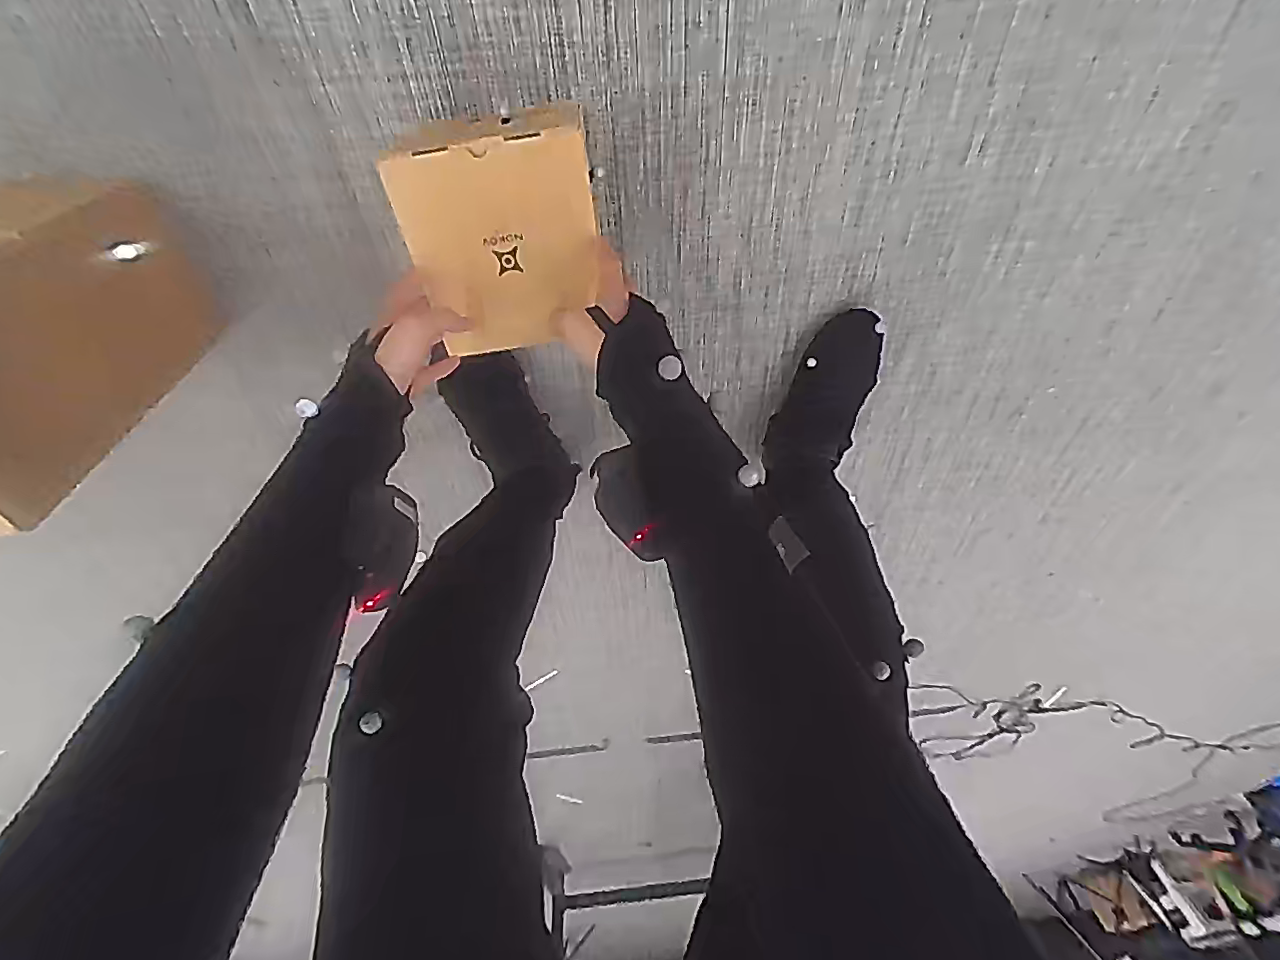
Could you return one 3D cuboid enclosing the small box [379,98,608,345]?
[{"bbox_3d":[-0.125,-0.261,0.543,0.168,0.176,0.179,-8,130,0],"label":"small box"}]

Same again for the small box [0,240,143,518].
[{"bbox_3d":[-0.571,-0.085,0.428,0.168,0.176,0.179,-3,133,-3],"label":"small box"}]
